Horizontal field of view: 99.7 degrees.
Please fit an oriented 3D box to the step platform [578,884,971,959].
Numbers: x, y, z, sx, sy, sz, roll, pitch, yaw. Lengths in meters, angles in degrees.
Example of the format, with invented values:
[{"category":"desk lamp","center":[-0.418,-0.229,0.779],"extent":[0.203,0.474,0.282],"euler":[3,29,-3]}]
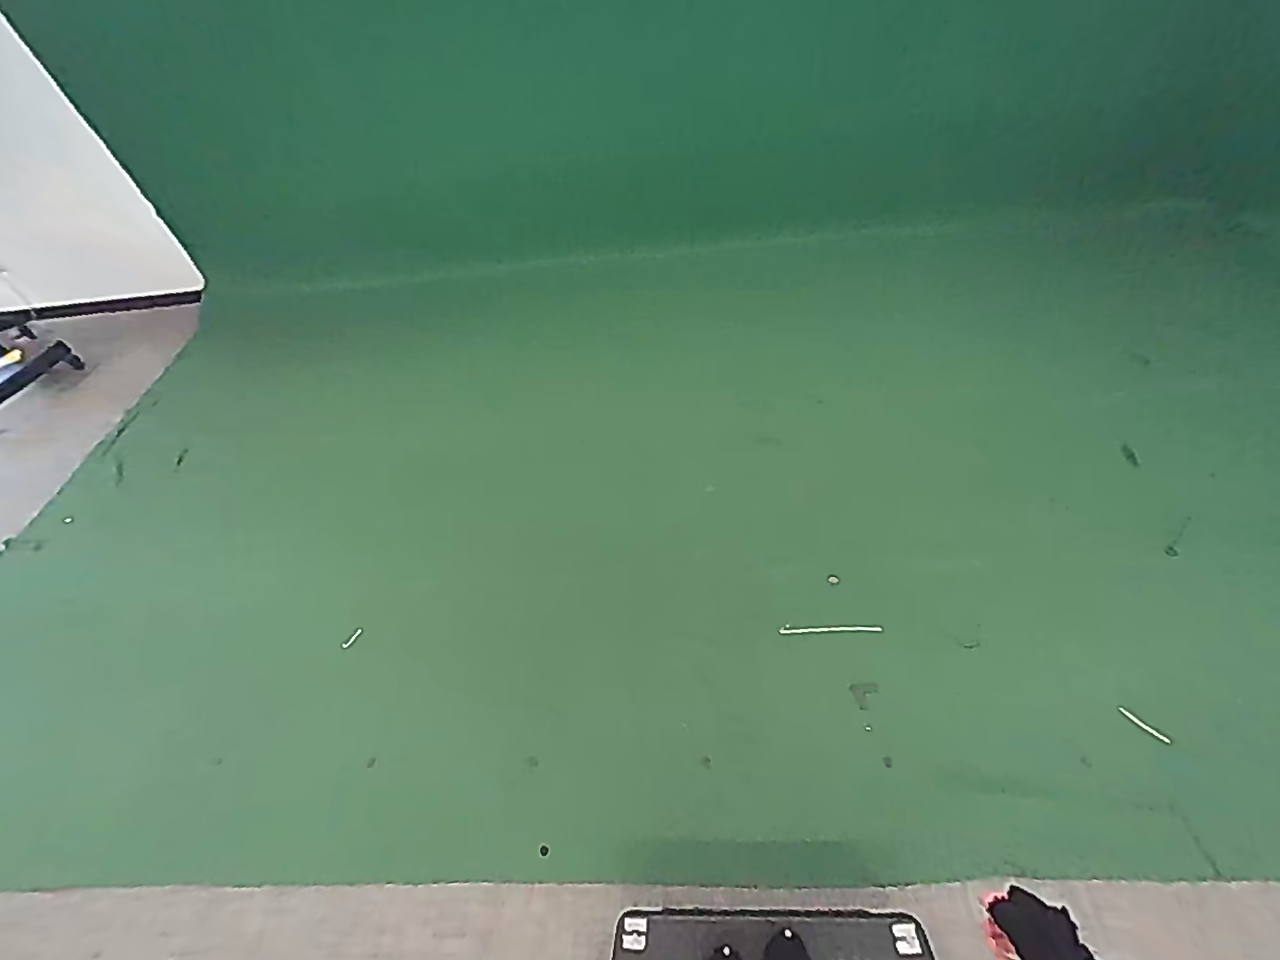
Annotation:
[{"category":"step platform","center":[0.237,0.927,0.998],"extent":[0.684,0.204,0.286],"euler":[-4,51,5]}]
